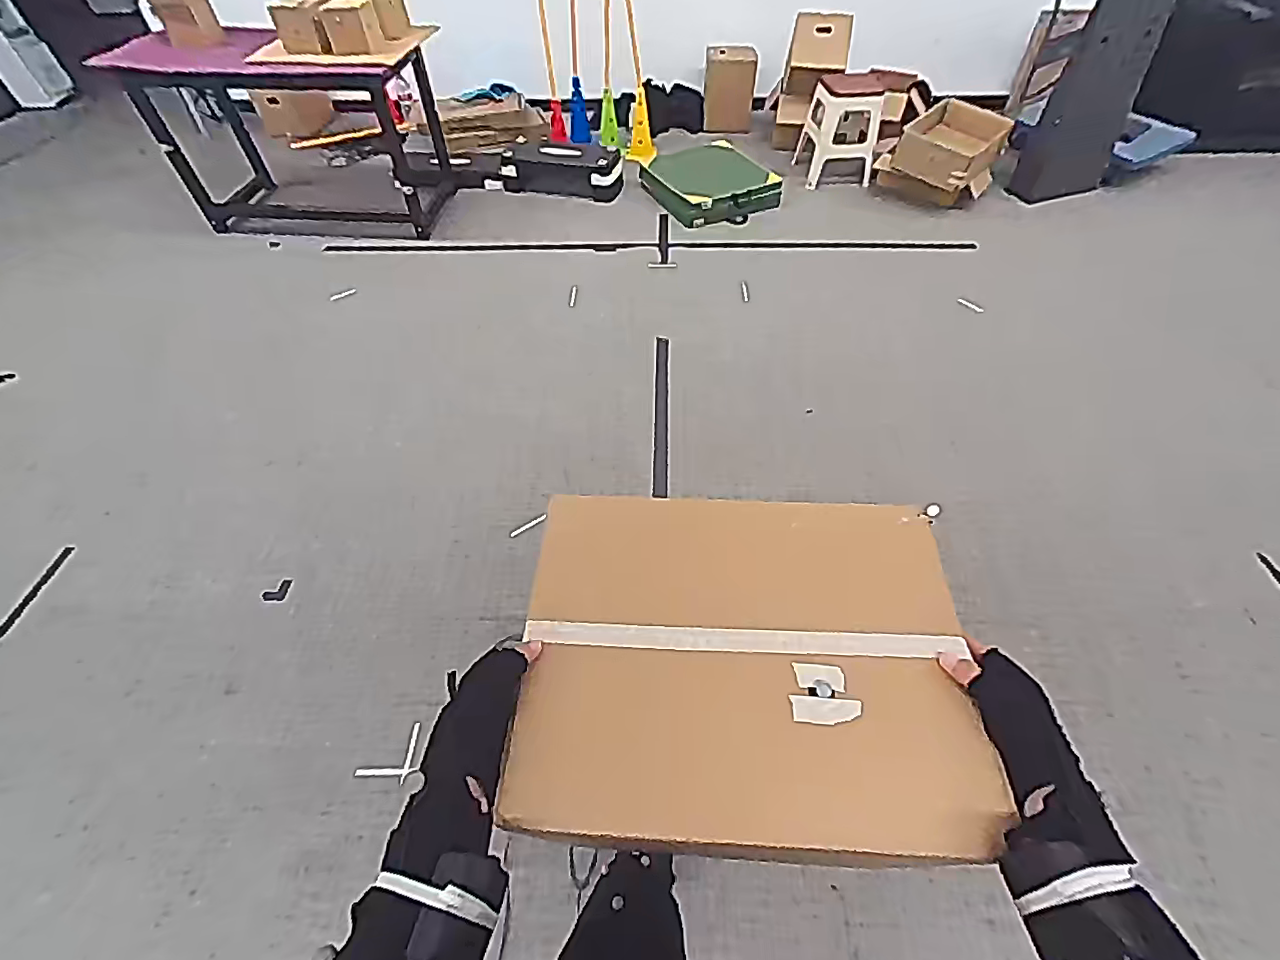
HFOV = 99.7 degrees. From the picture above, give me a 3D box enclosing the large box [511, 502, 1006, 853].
[{"bbox_3d":[0.100,0.240,0.636,0.408,0.320,0.320,2,55,3],"label":"large box"}]
